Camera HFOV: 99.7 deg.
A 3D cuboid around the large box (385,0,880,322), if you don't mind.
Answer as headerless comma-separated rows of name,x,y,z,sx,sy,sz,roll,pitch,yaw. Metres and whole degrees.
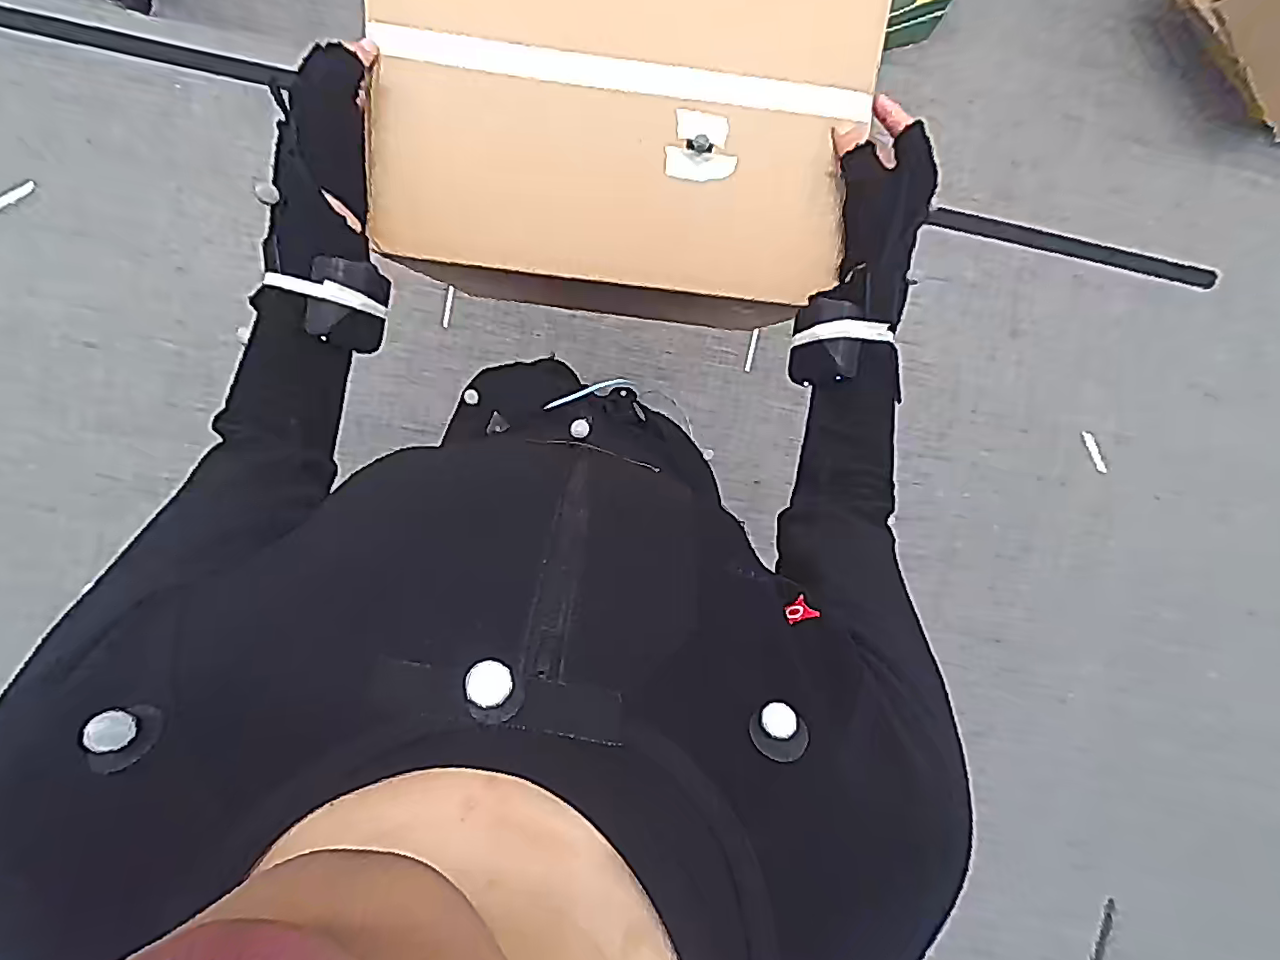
large box,-0.016,-0.362,0.594,0.408,0.320,0.320,6,103,-4
